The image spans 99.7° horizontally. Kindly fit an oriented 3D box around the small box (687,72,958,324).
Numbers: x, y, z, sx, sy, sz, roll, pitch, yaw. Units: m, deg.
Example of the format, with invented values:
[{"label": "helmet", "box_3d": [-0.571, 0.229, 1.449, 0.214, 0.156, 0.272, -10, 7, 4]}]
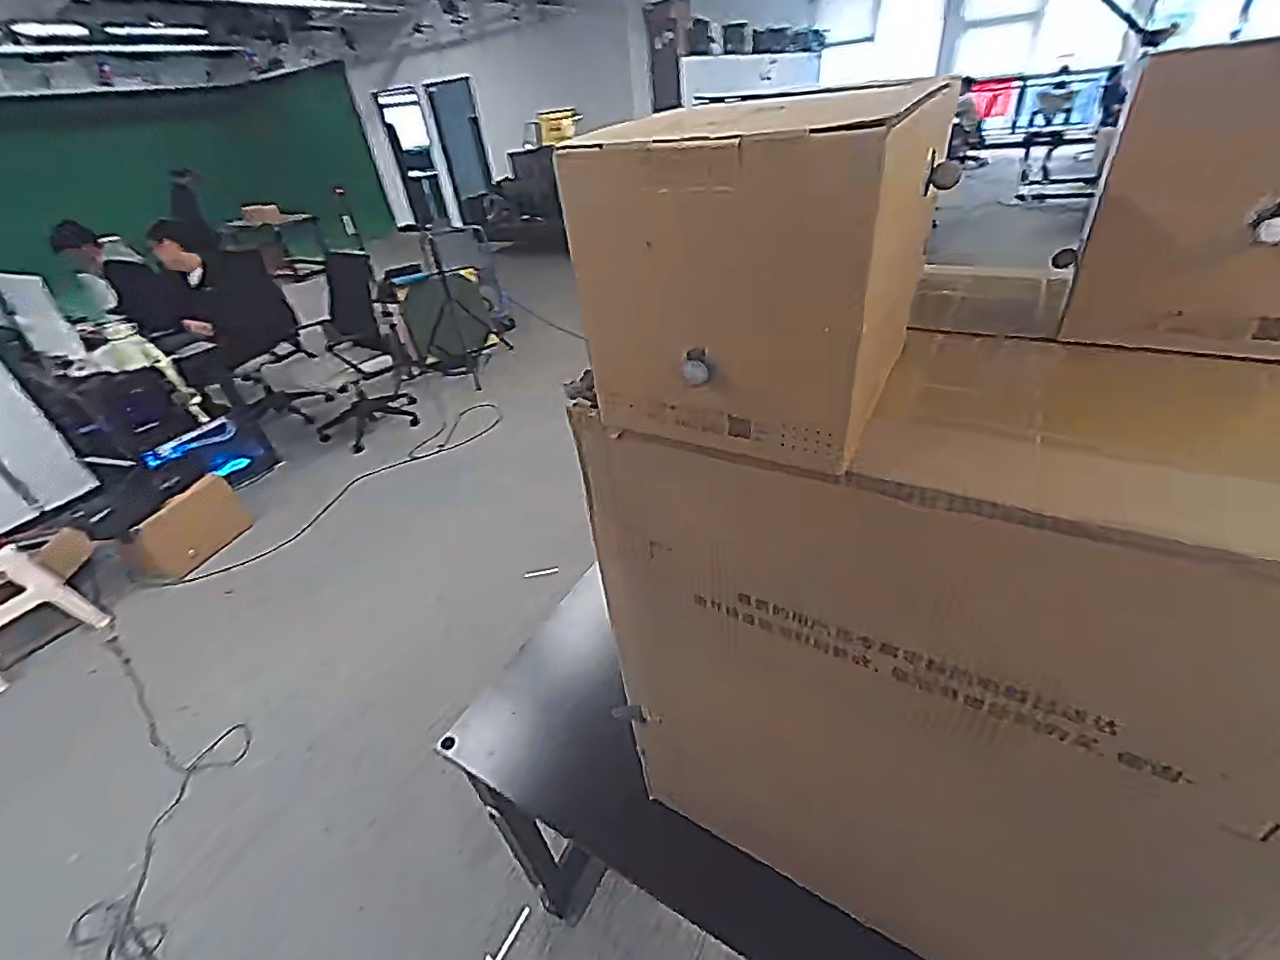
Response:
[{"label": "small box", "box_3d": [0.157, -0.248, 0.481, 0.179, 0.176, 0.168, 16, 41, 28]}]
